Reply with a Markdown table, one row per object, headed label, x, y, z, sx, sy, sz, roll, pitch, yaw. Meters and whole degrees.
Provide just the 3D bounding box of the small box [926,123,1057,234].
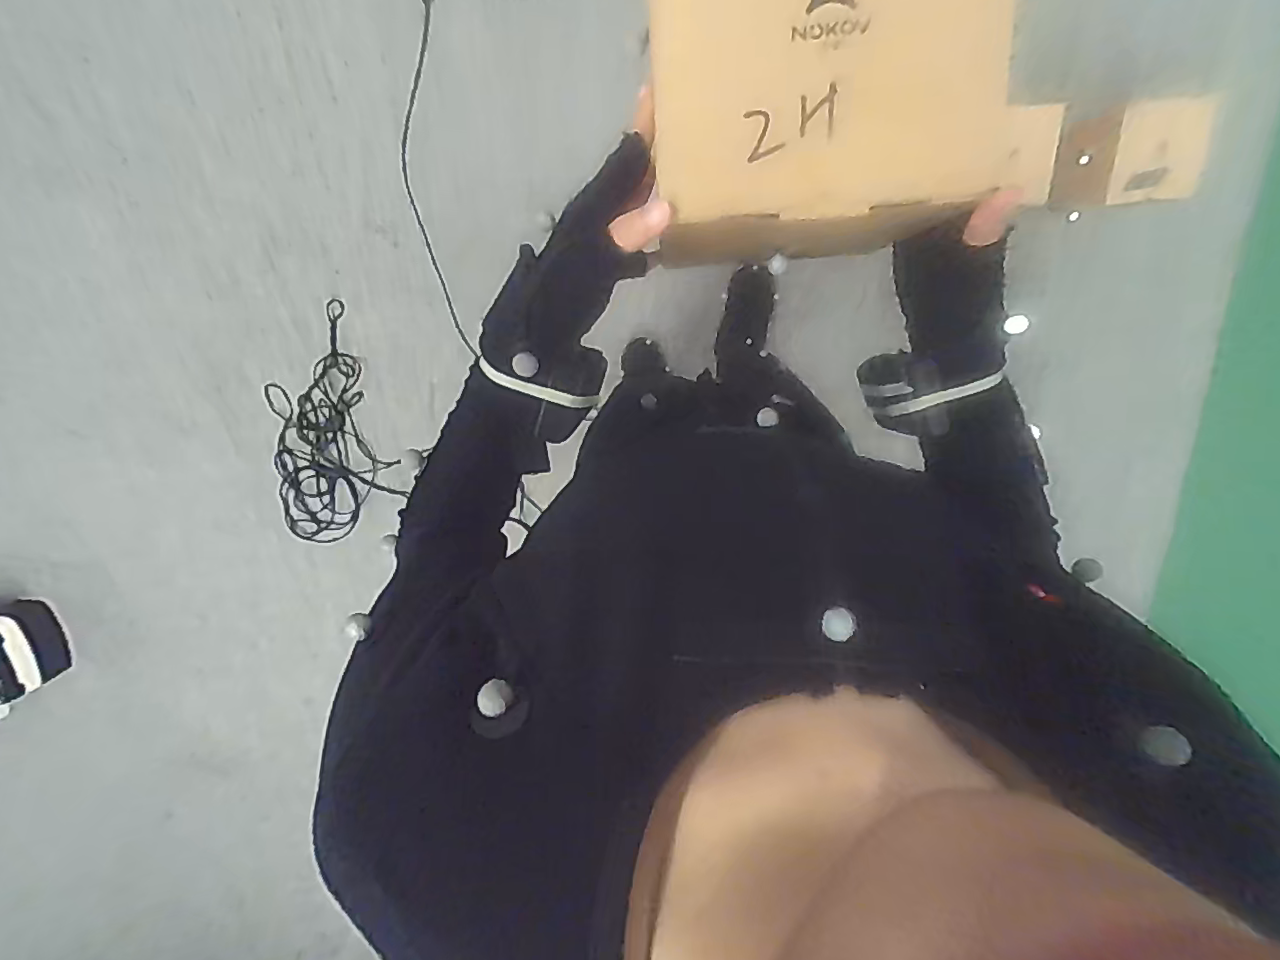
| label | x | y | z | sx | sy | sz | roll | pitch | yaw |
| --- | --- | --- | --- | --- | --- | --- | --- | --- | --- |
| small box | 0.734 | -0.632 | 1.150 | 0.168 | 0.176 | 0.179 | -2 | 109 | 4 |
